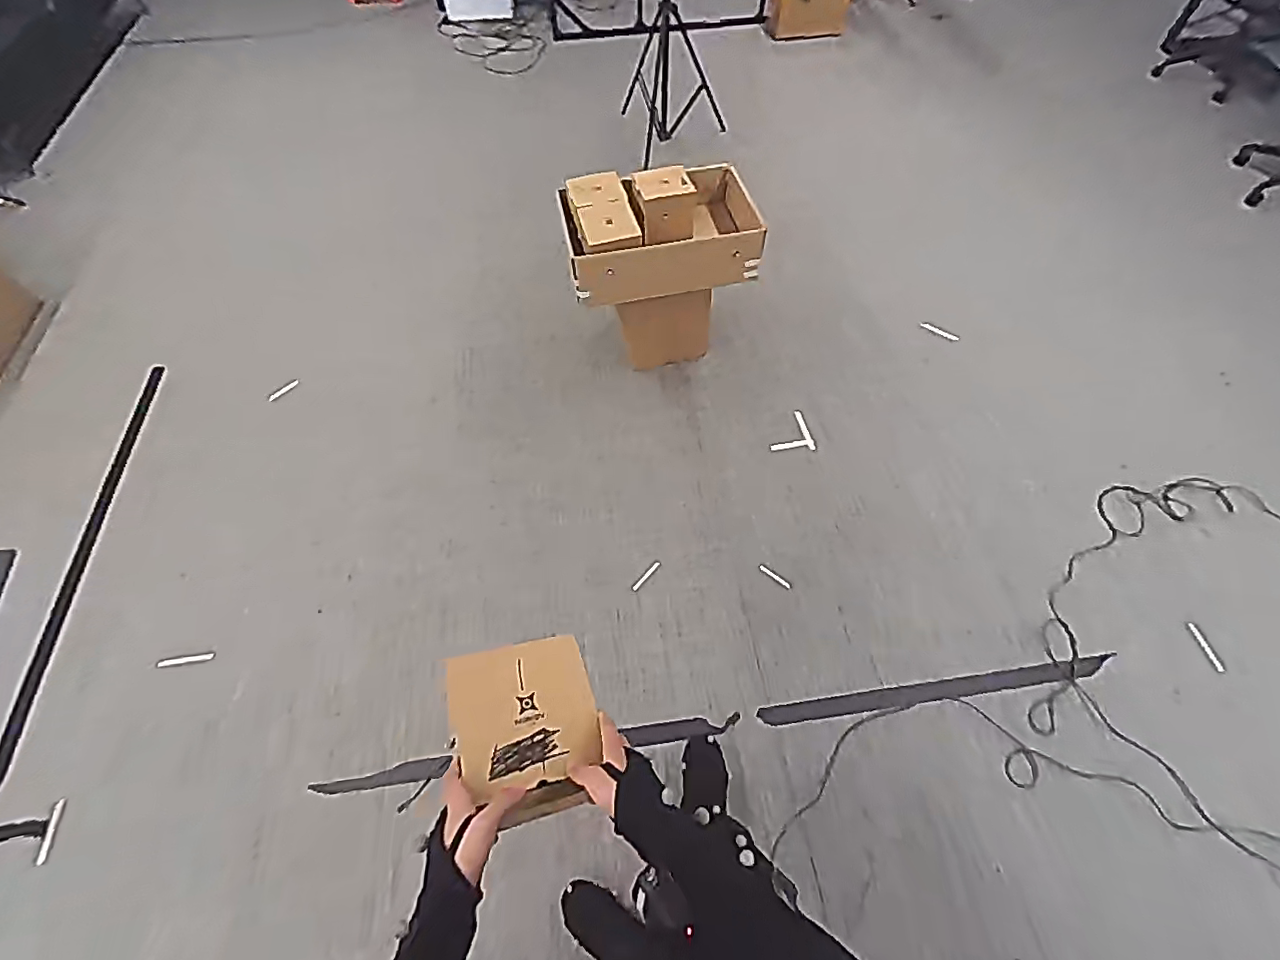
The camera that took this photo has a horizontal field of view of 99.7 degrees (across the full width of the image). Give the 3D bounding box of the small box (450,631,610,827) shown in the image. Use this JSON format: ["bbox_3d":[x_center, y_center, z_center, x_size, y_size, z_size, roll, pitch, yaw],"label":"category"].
[{"bbox_3d":[-0.153,0.327,0.706,0.168,0.176,0.179,-5,49,-24],"label":"small box"}]
